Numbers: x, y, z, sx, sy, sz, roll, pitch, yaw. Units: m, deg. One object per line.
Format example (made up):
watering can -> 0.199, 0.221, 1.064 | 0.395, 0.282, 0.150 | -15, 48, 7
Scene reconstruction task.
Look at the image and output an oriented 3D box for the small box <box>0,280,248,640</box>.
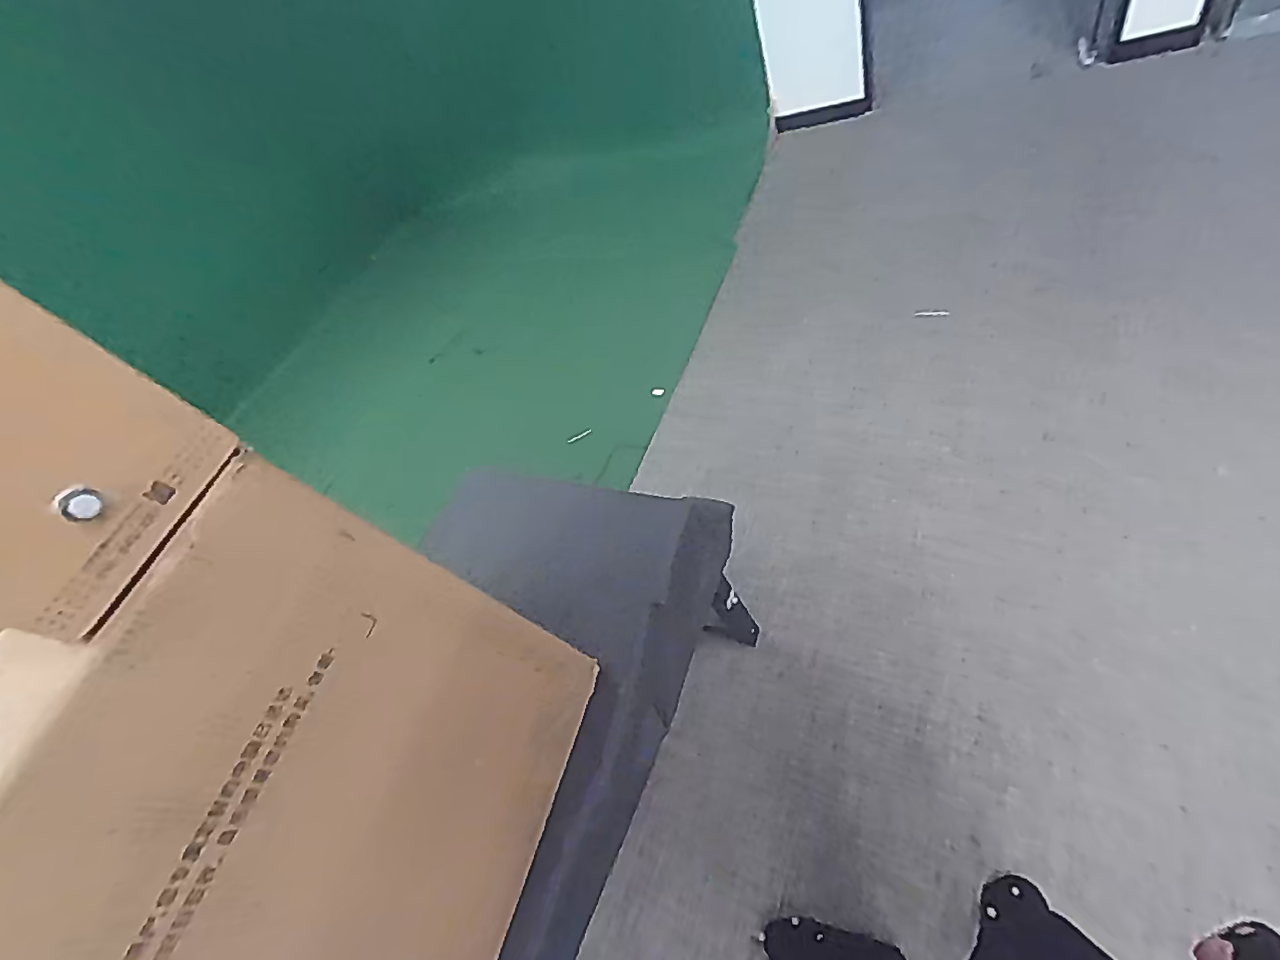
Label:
small box -> -0.428, -0.009, 0.364 | 0.179, 0.176, 0.168 | 6, 60, 28
